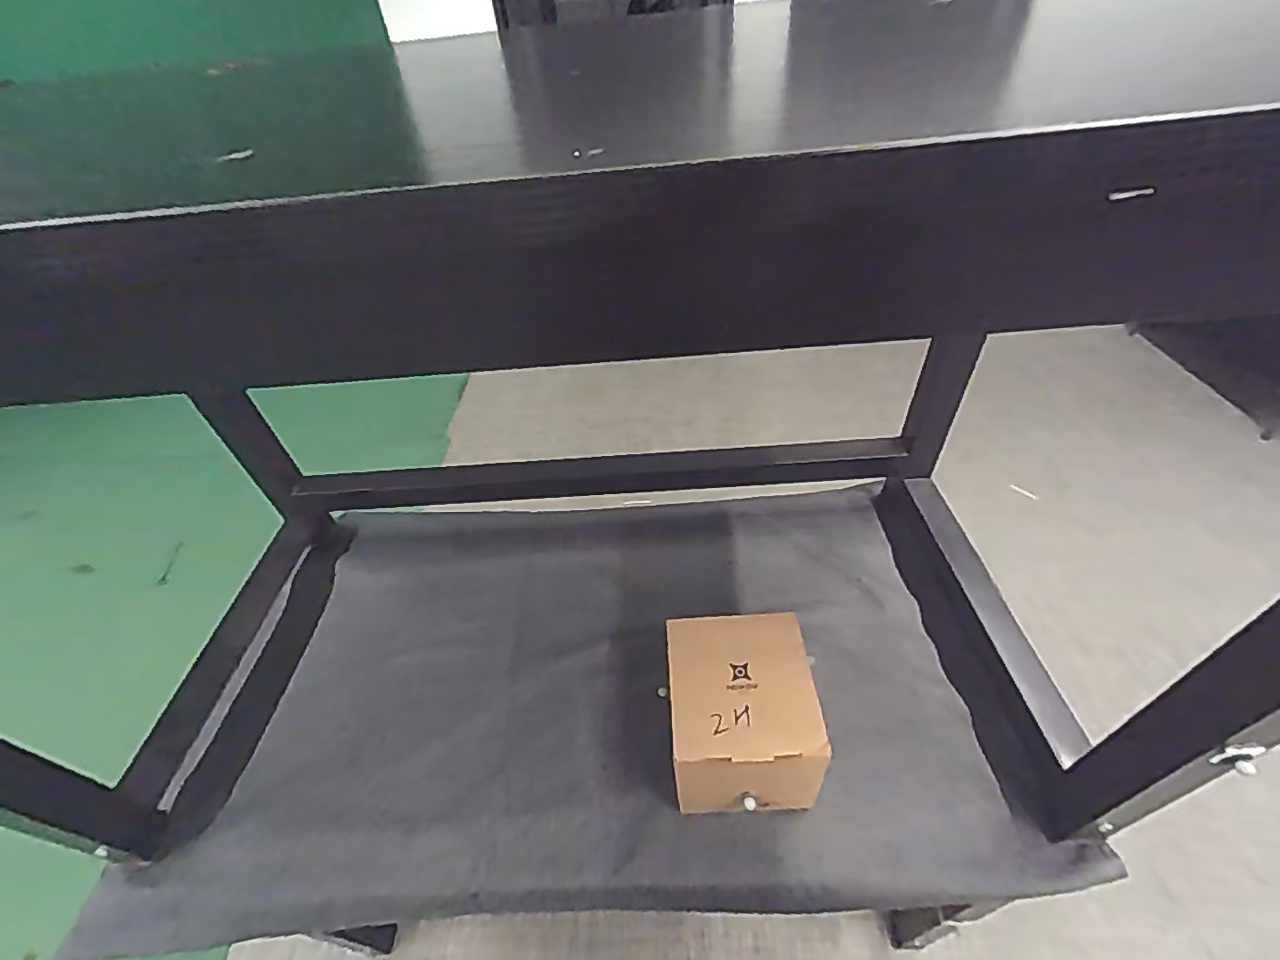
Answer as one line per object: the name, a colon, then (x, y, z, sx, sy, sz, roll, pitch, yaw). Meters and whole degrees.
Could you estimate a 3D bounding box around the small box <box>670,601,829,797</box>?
small box: (0.124, 0.276, 0.684, 0.168, 0.176, 0.179, -4, 42, 4)
